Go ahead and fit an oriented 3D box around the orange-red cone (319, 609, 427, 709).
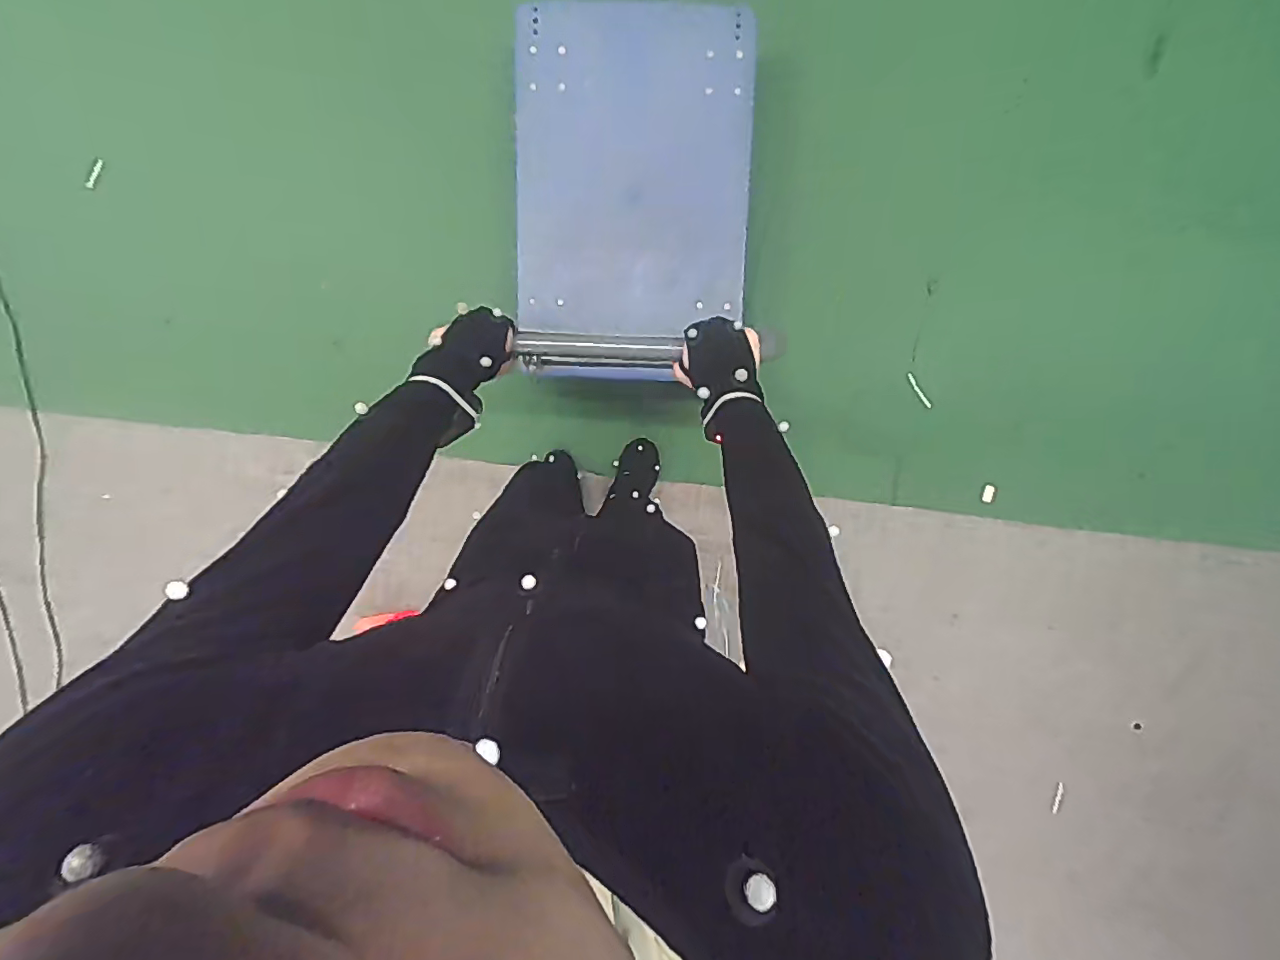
[{"bbox_3d":[-0.771,0.524,1.504,0.199,0.360,0.198,-8,98,3],"label":"orange-red cone"}]
